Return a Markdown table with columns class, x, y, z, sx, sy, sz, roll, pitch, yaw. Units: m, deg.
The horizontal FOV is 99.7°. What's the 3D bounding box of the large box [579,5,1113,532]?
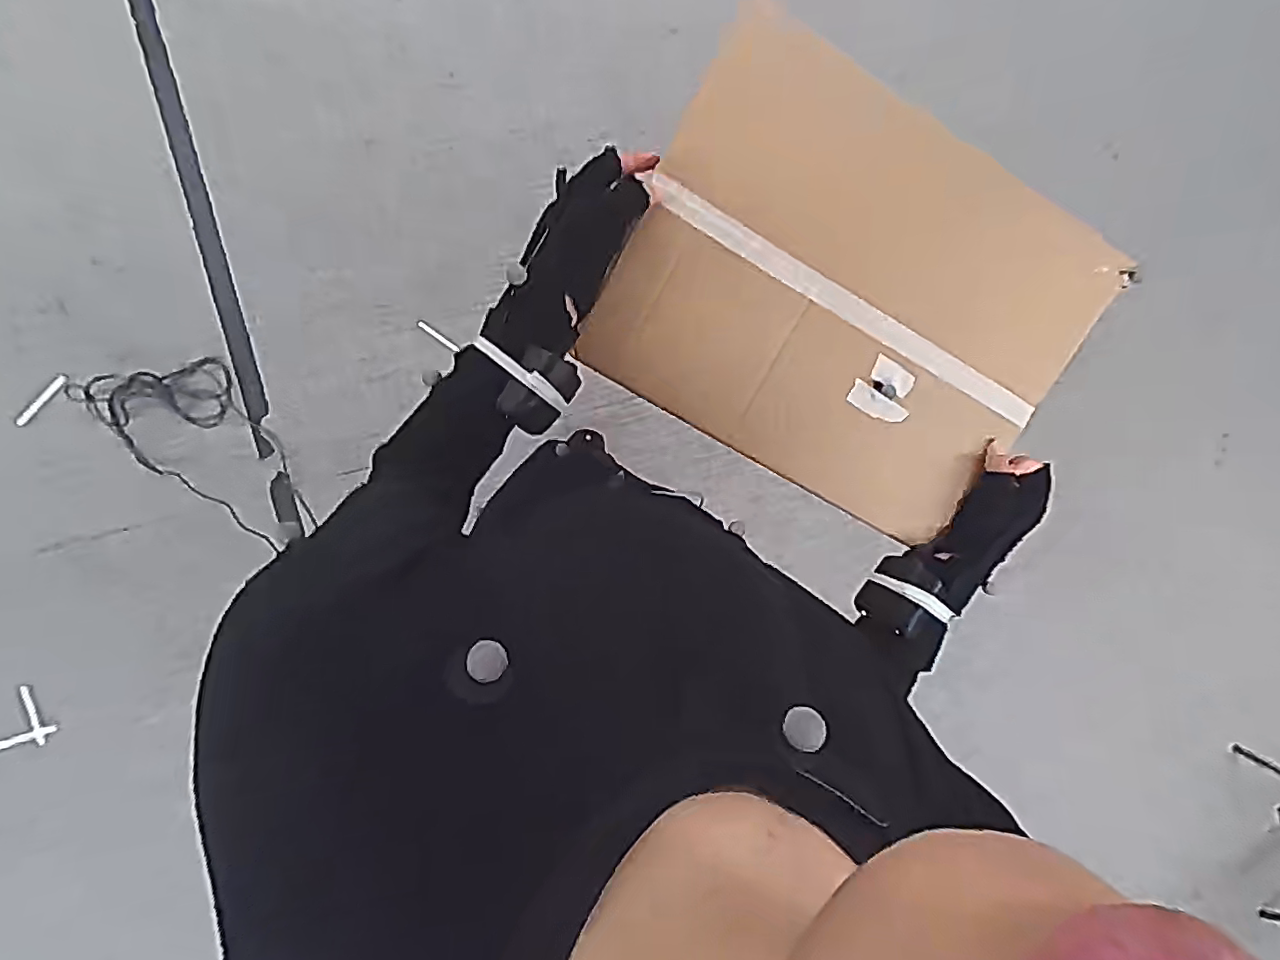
| class | x | y | z | sx | sy | sz | roll | pitch | yaw |
| --- | --- | --- | --- | --- | --- | --- | --- | --- | --- |
| large box | 0.178 | -0.200 | 0.633 | 0.408 | 0.320 | 0.320 | 28 | 103 | -10 |
